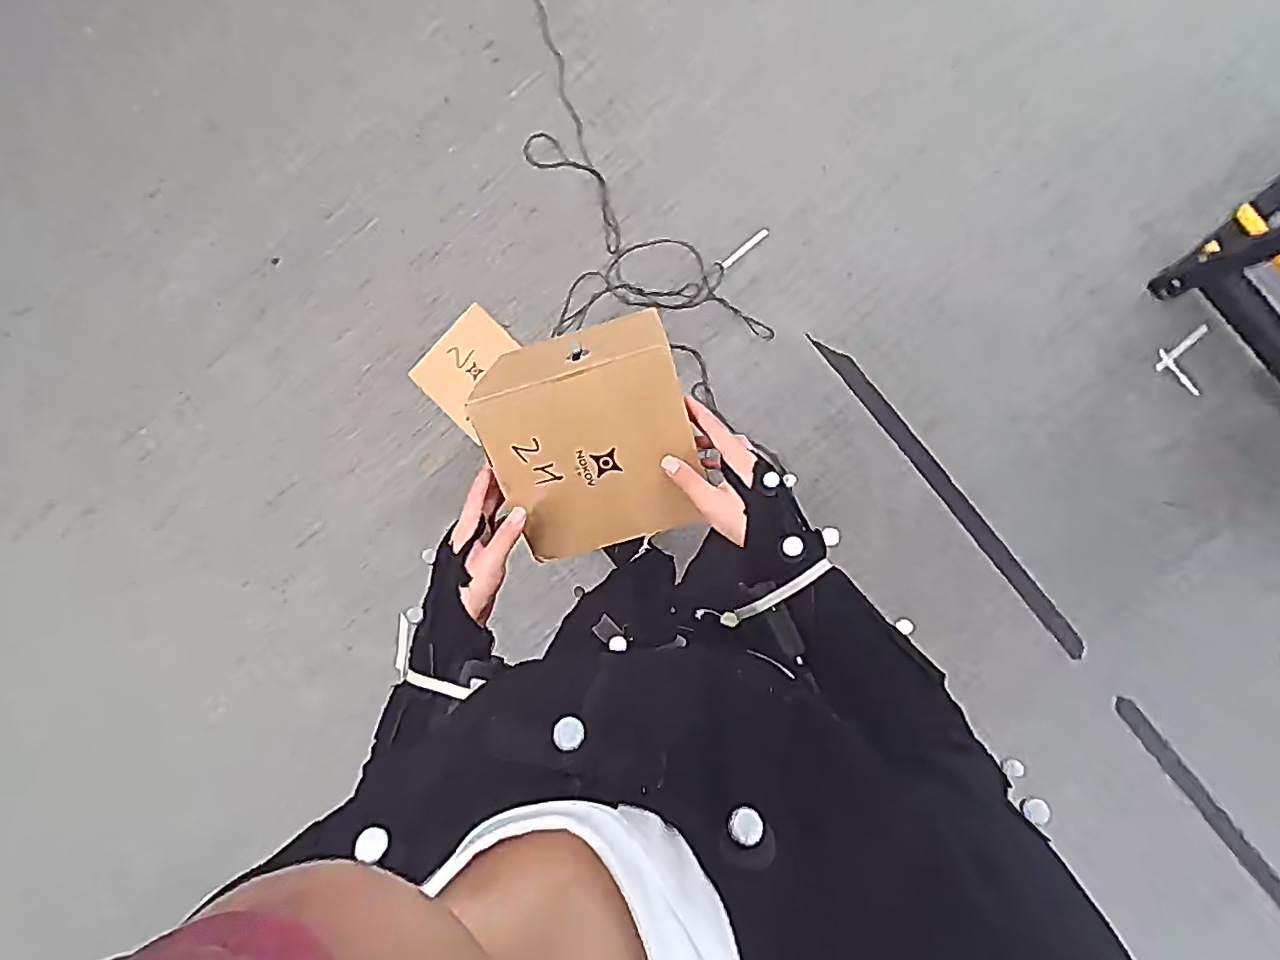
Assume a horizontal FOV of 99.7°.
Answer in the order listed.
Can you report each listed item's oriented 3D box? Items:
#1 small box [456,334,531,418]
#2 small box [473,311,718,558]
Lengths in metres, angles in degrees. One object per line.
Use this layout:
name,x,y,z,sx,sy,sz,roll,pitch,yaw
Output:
small box,-0.239,-0.170,1.122,0.179,0.176,0.168,-45,90,4
small box,-0.036,-0.054,0.533,0.179,0.176,0.168,-15,116,6
